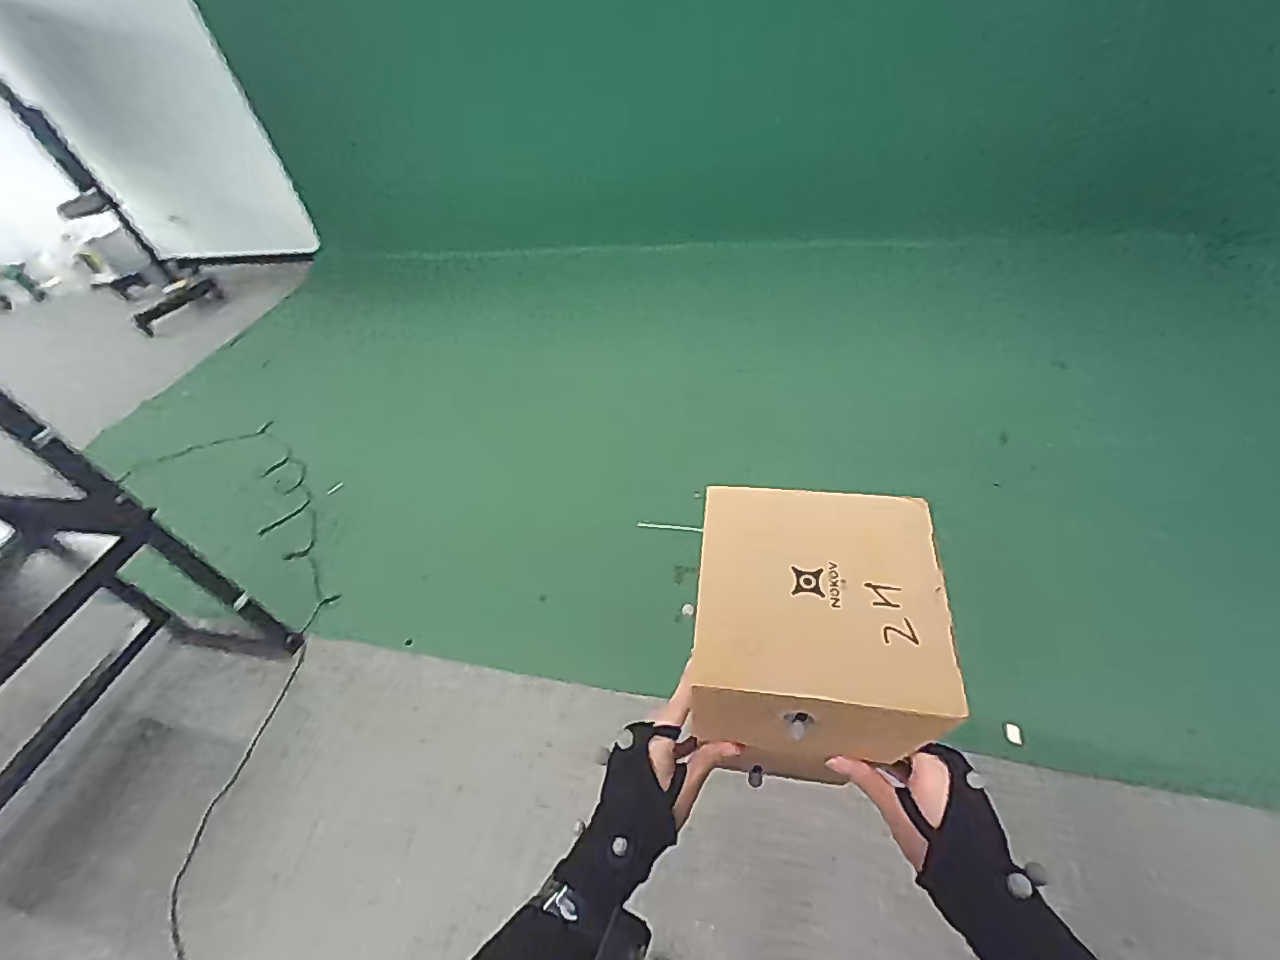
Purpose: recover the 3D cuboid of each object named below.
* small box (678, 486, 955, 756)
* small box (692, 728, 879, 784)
[{"bbox_3d":[0.130,0.123,0.457,0.179,0.176,0.168,4,55,9],"label":"small box"},{"bbox_3d":[0.145,0.215,0.592,0.168,0.176,0.179,3,55,8],"label":"small box"}]
